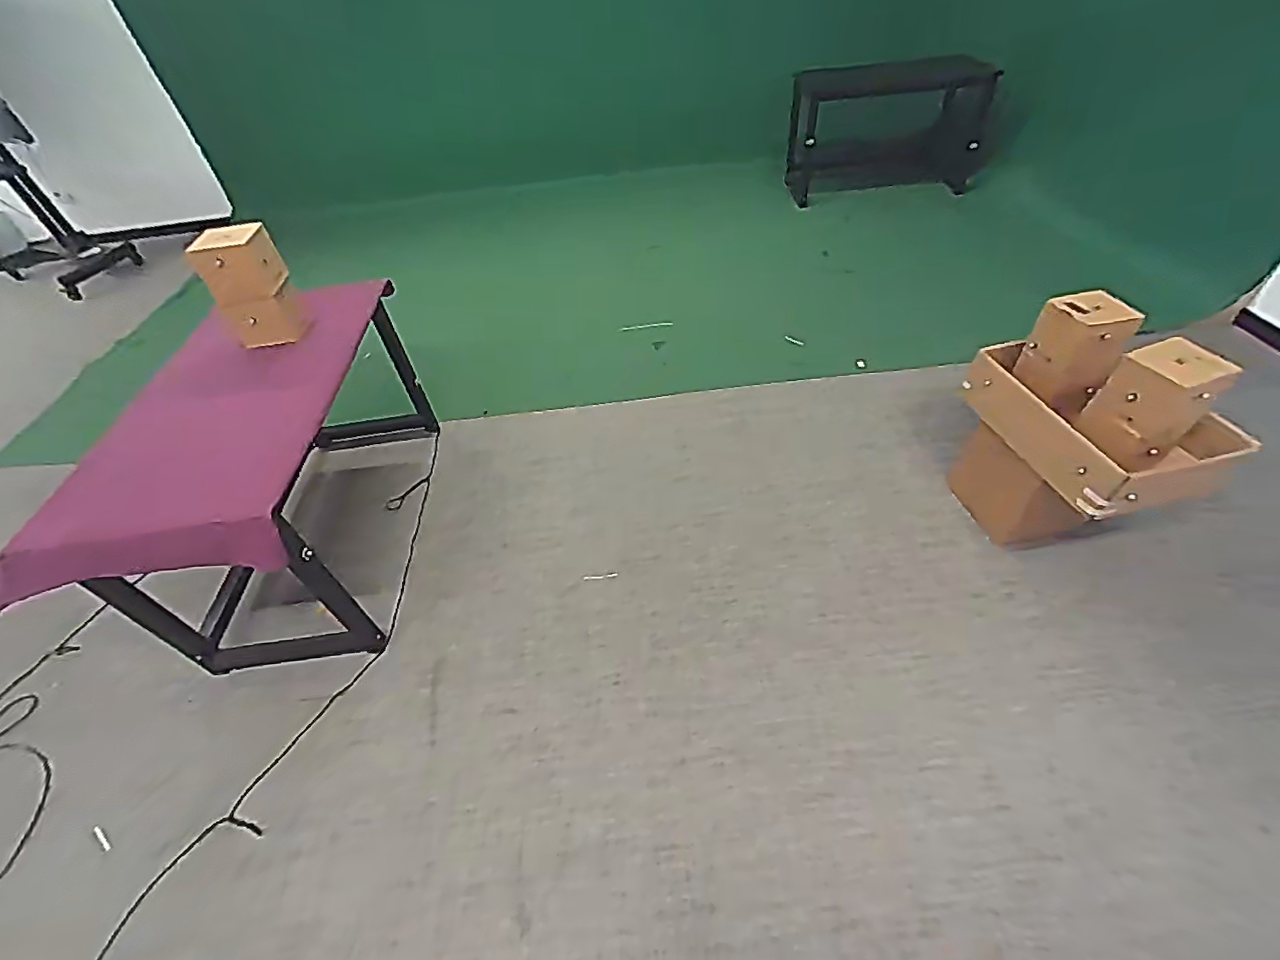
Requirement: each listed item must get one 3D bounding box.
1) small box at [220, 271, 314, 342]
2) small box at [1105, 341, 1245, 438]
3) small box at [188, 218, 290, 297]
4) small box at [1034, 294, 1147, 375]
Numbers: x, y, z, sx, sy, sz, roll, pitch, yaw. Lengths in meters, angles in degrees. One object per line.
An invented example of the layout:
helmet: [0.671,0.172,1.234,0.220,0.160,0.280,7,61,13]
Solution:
small box: [-1.244,-0.581,1.814,0.179,0.176,0.168,-10,47,-3]
small box: [1.371,-0.232,1.407,0.179,0.176,0.168,-16,47,-8]
small box: [-1.245,-0.695,1.697,0.179,0.176,0.168,-9,47,-2]
small box: [1.316,-0.427,1.603,0.179,0.176,0.168,-9,45,-4]
